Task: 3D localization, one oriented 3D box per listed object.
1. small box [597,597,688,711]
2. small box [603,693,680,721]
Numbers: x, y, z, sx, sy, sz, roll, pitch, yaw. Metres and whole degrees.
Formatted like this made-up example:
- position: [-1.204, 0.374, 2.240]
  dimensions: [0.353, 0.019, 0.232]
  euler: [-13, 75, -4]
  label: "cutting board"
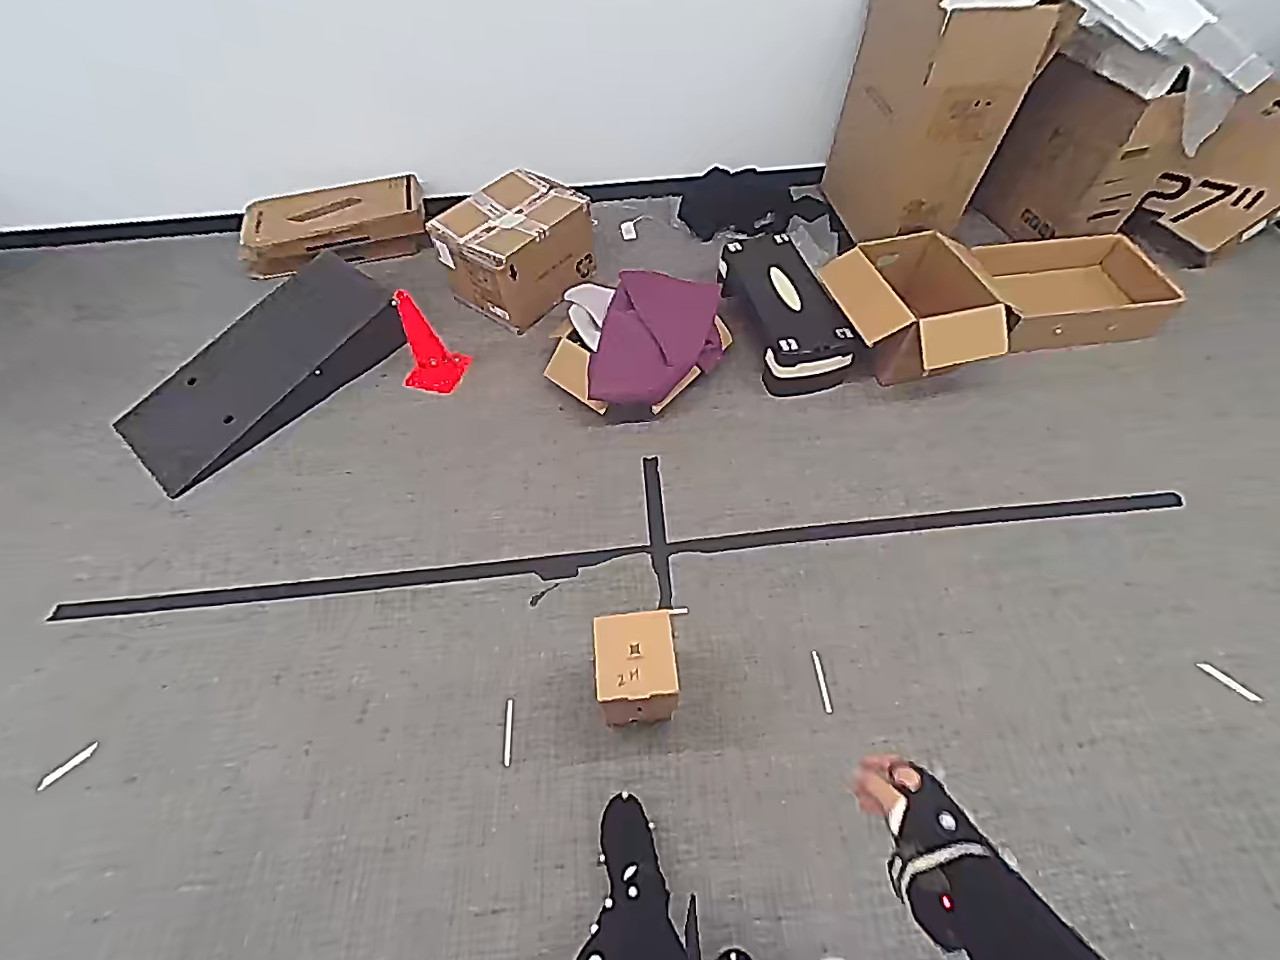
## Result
- position: [0.002, 0.358, 1.105]
  dimensions: [0.168, 0.176, 0.179]
  euler: [-6, 57, -1]
  label: "small box"
- position: [-0.001, 0.442, 1.248]
  dimensions: [0.168, 0.176, 0.179]
  euler: [-7, 58, -1]
  label: "small box"
